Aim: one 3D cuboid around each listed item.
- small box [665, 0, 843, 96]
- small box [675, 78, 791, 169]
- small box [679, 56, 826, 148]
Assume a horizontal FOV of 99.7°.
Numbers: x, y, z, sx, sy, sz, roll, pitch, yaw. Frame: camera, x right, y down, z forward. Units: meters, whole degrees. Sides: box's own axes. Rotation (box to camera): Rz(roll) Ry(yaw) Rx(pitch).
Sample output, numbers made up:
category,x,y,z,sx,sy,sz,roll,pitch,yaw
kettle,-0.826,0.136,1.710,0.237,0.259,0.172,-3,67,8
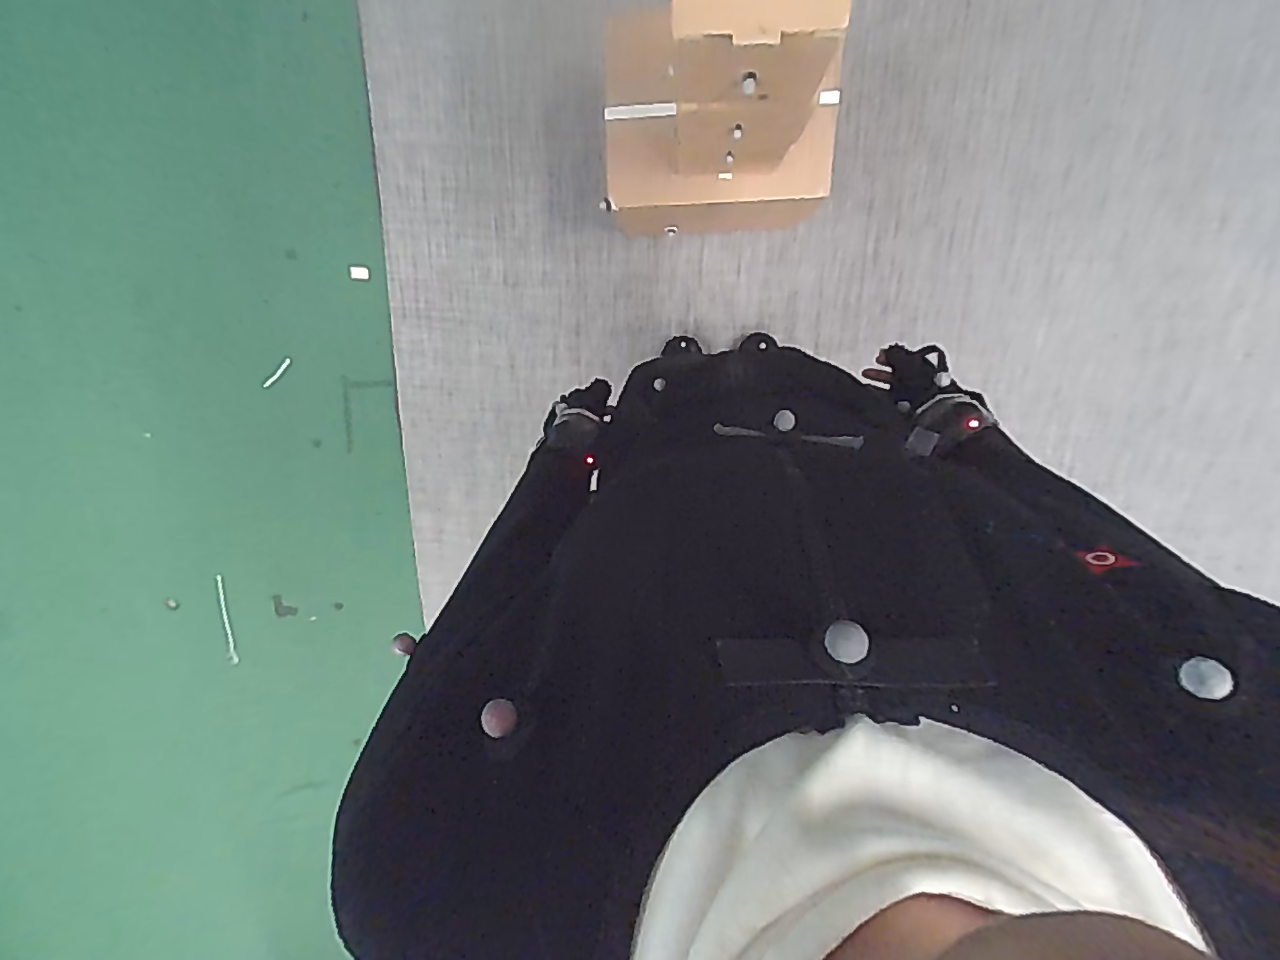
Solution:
category,x,y,z,sx,sy,sz,roll,pitch,yaw
small box,0.119,-0.523,0.557,0.168,0.176,0.179,5,108,6
small box,0.149,-0.613,0.871,0.179,0.176,0.168,2,107,5
small box,0.139,-0.560,0.716,0.179,0.176,0.168,-2,107,6
